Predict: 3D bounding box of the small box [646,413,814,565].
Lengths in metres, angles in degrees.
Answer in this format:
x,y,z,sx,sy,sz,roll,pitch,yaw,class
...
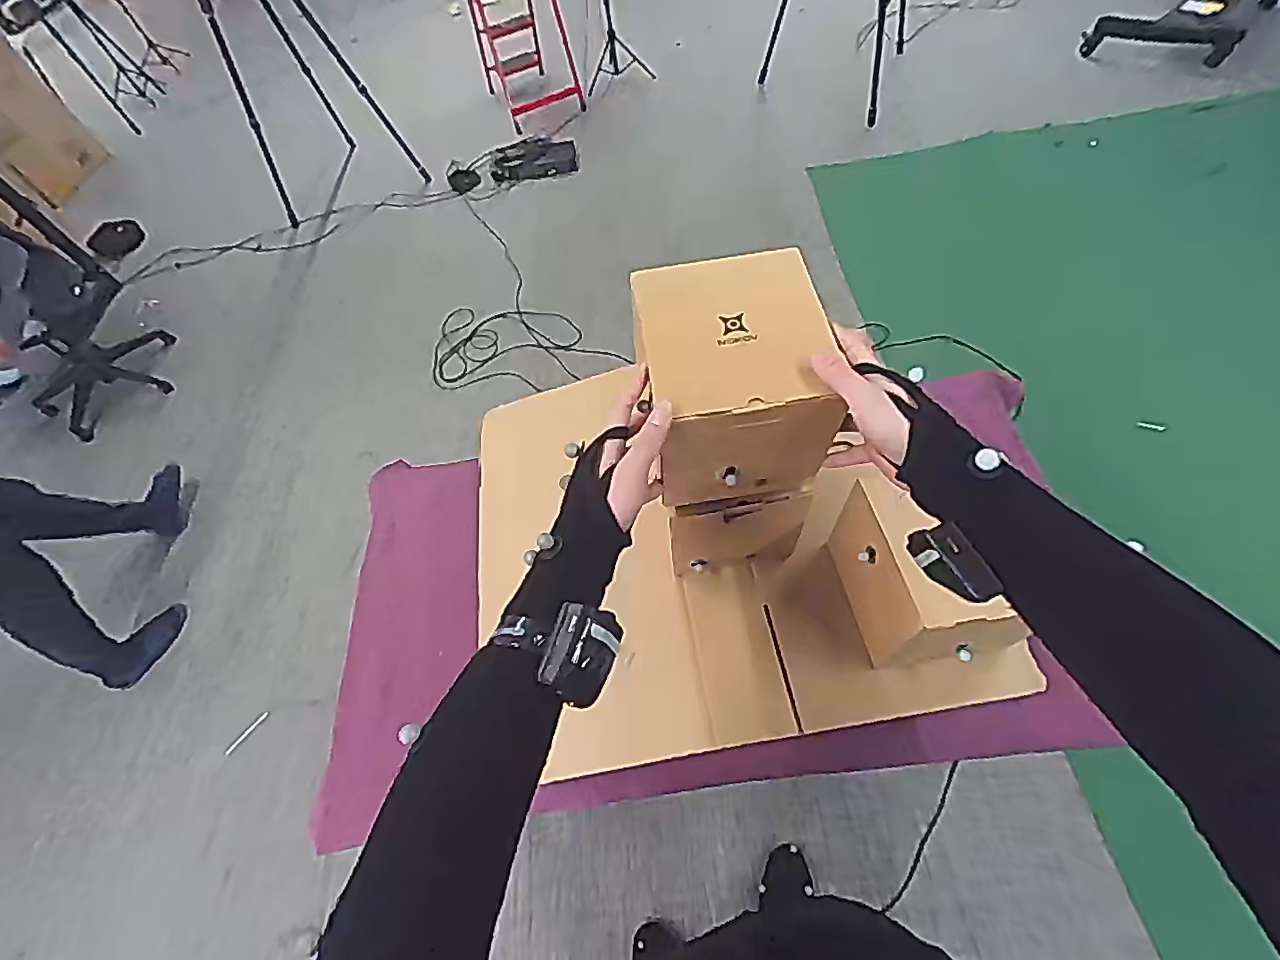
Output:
x,y,z,sx,sy,sz,roll,pitch,yaw,class
0.107,-0.003,0.698,0.168,0.176,0.179,-10,57,-1,small box

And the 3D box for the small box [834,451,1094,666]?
x,y,z,sx,sy,sz,roll,pitch,yaw,class
0.339,0.094,0.614,0.168,0.176,0.179,-10,58,1,small box

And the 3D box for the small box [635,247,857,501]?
x,y,z,sx,sy,sz,roll,pitch,yaw,class
0.089,-0.099,0.547,0.168,0.176,0.179,-9,64,-1,small box
